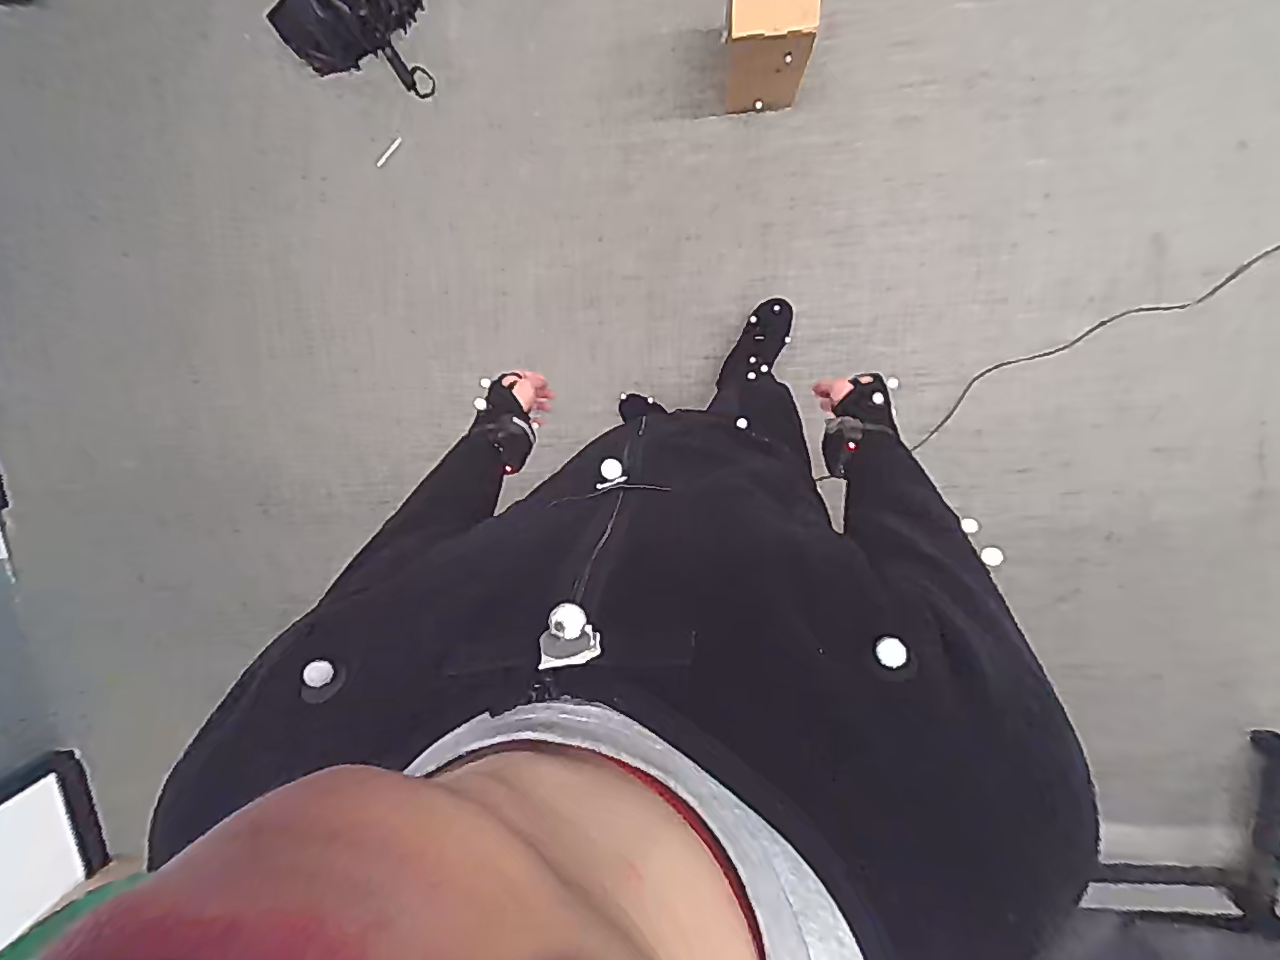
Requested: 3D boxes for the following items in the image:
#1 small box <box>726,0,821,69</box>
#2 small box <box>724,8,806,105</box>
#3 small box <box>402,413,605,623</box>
[{"bbox_3d":[0.258,-0.944,1.064,0.168,0.176,0.179,-1,102,6],"label":"small box"},{"bbox_3d":[0.277,-0.987,1.219,0.168,0.176,0.179,-1,104,7],"label":"small box"},{"bbox_3d":[-0.167,0.035,0.659,0.168,0.179,0.176,45,131,29],"label":"small box"}]
